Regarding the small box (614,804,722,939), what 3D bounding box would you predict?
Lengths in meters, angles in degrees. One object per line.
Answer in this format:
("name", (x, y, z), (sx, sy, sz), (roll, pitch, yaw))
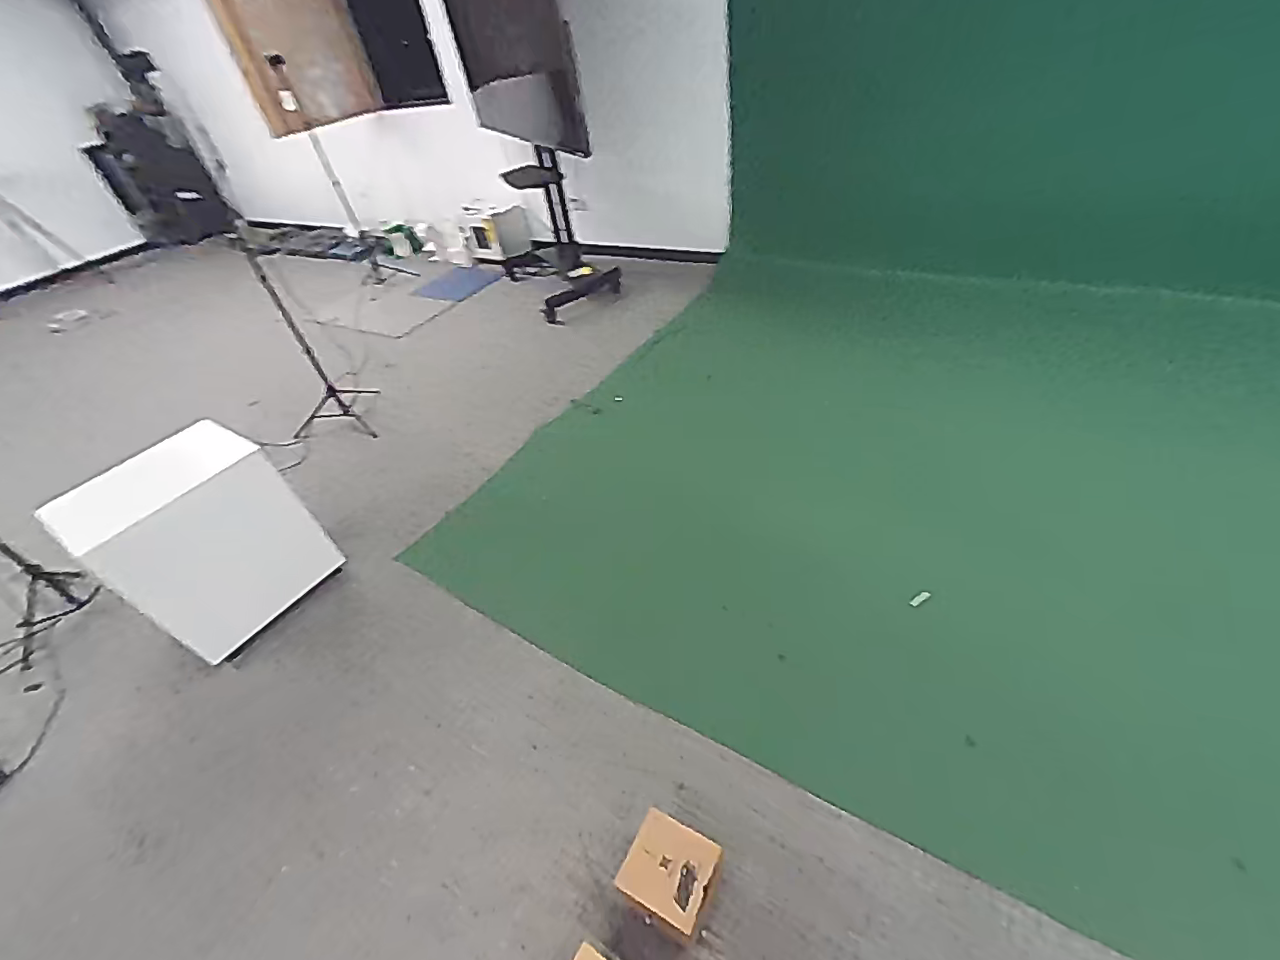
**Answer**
("small box", (0.069, 0.851, 1.171), (0.179, 0.176, 0.168), (15, 47, 27))
